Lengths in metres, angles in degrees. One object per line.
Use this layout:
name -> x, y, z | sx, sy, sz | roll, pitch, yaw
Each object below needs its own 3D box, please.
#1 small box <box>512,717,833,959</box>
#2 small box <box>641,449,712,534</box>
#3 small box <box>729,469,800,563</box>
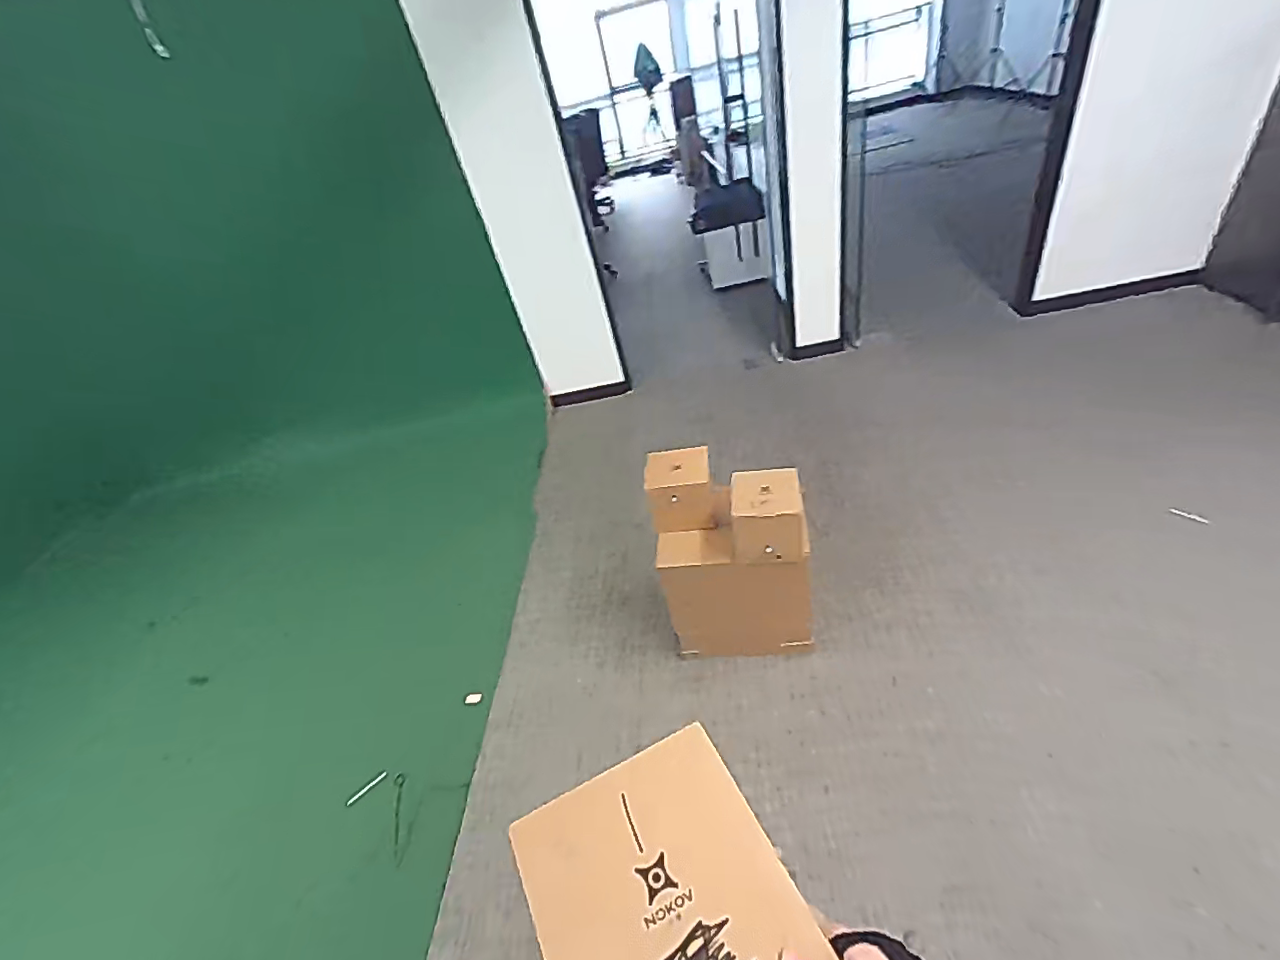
small box -> 0.018, 0.331, 0.422 | 0.168, 0.176, 0.179 | -21, 45, -17
small box -> 0.111, 0.034, 1.540 | 0.179, 0.176, 0.168 | -7, 38, 12
small box -> 0.319, 0.094, 1.389 | 0.168, 0.176, 0.179 | -5, 38, 14
